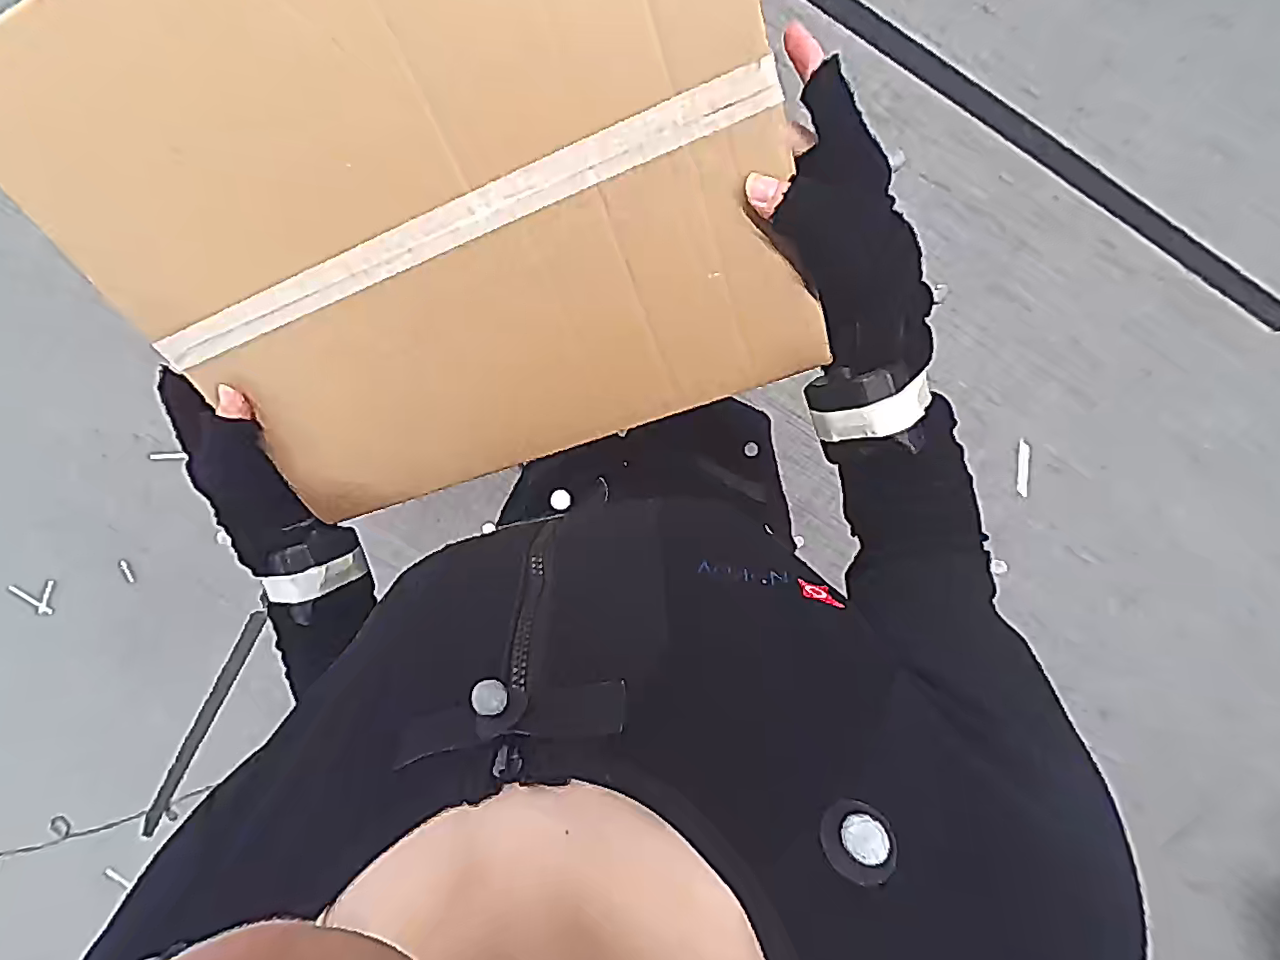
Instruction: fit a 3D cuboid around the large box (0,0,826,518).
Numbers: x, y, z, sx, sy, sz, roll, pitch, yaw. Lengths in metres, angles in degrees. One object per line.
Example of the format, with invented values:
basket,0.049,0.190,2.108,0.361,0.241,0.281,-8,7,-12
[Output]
large box,-0.112,-0.225,0.443,0.408,0.320,0.320,-17,125,13
